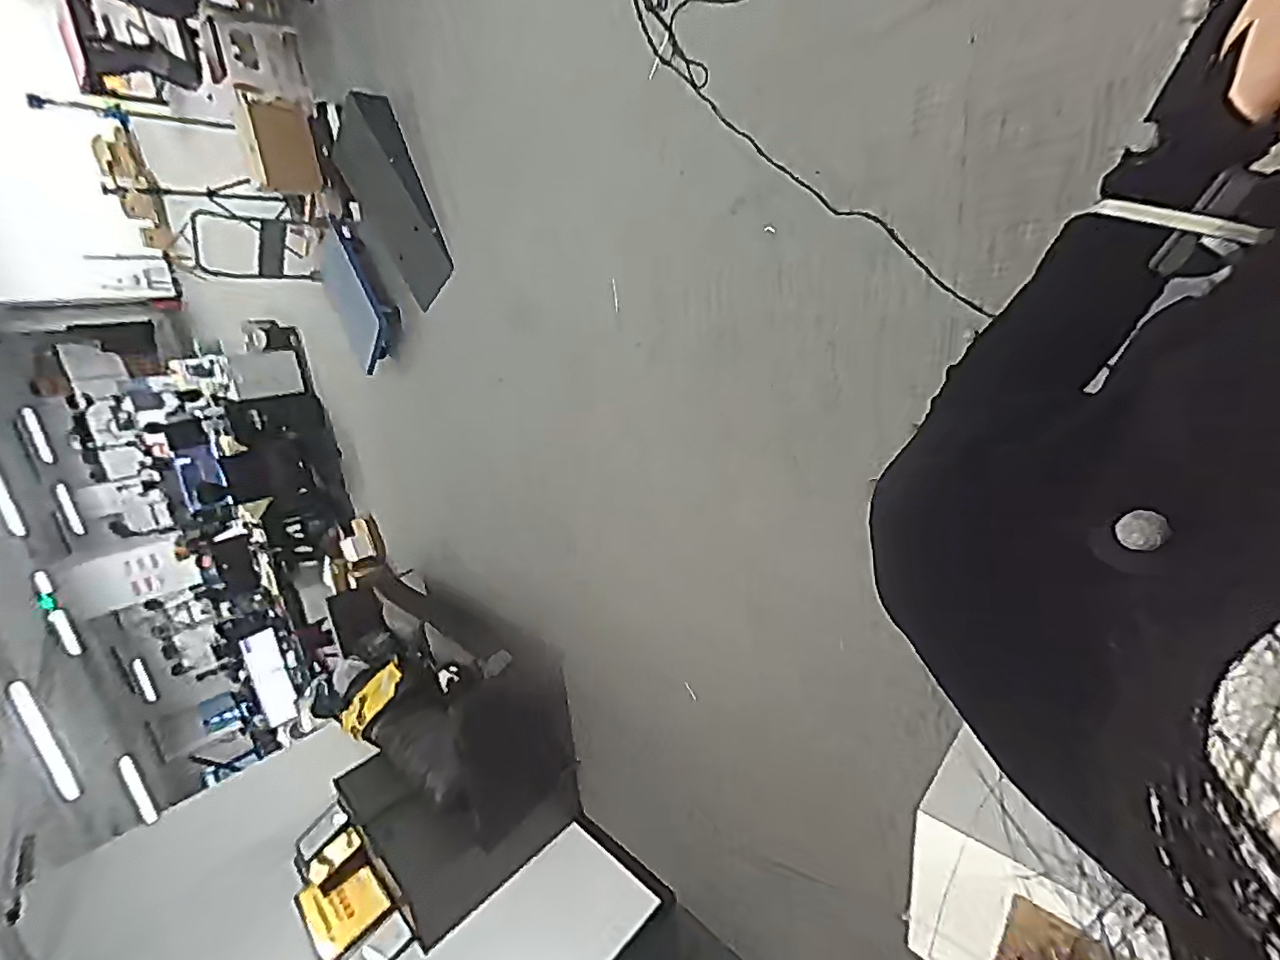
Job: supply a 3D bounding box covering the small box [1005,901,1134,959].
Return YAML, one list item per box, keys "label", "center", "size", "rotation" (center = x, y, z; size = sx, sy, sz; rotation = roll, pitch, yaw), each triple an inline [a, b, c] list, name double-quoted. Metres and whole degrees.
- label: "small box"
  center: [0.689, 0.851, 0.871]
  size: [0.168, 0.176, 0.179]
  rotation: [11, 114, 44]
